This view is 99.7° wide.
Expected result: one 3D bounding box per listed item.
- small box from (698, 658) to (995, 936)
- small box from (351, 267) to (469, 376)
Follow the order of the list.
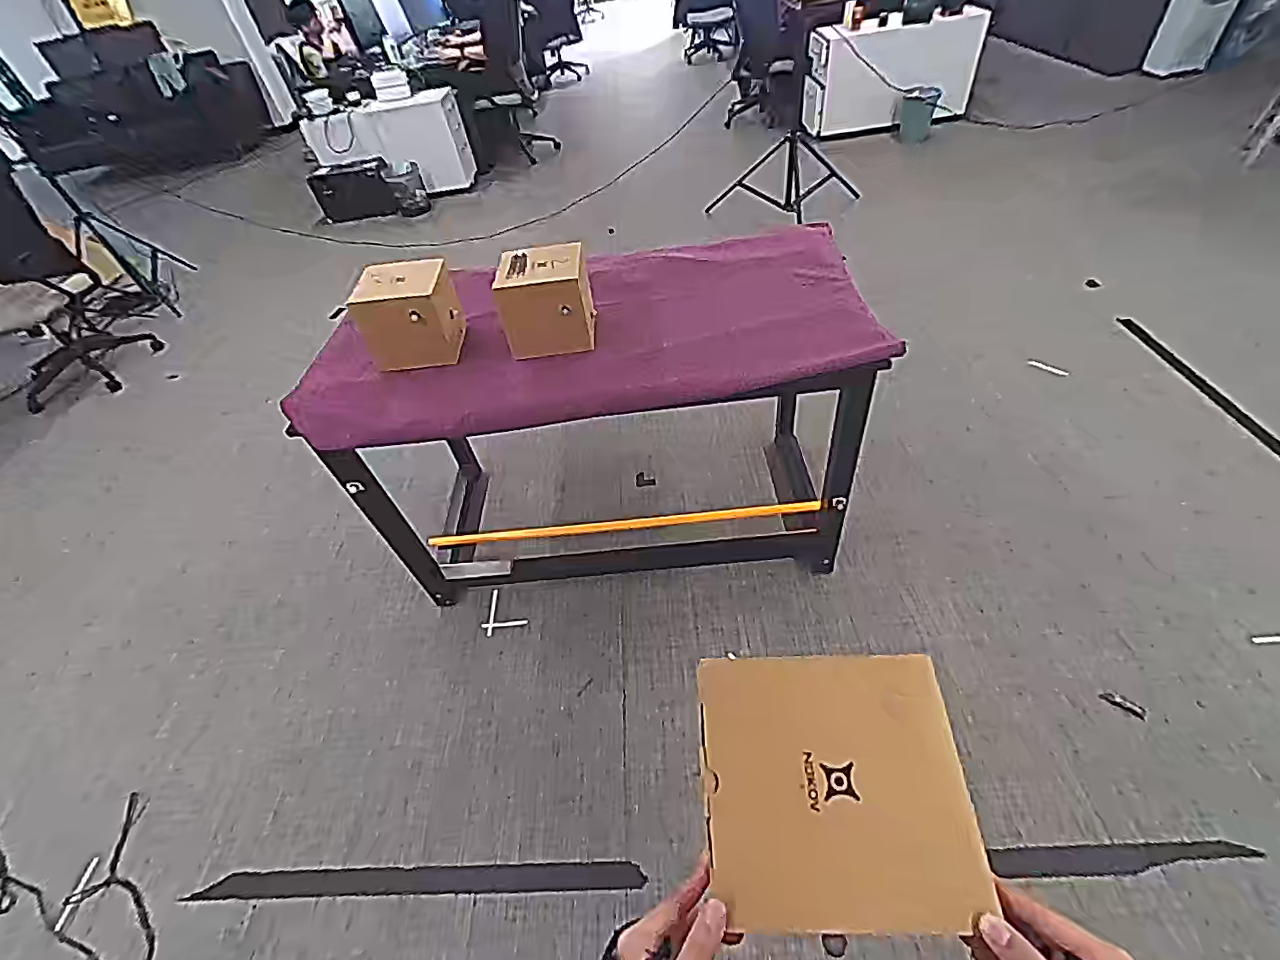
[{"bbox_3d":[0.139,0.248,0.441,0.179,0.176,0.168,-4,58,6],"label":"small box"},{"bbox_3d":[-0.496,-0.349,1.200,0.179,0.176,0.168,-6,46,1],"label":"small box"}]
